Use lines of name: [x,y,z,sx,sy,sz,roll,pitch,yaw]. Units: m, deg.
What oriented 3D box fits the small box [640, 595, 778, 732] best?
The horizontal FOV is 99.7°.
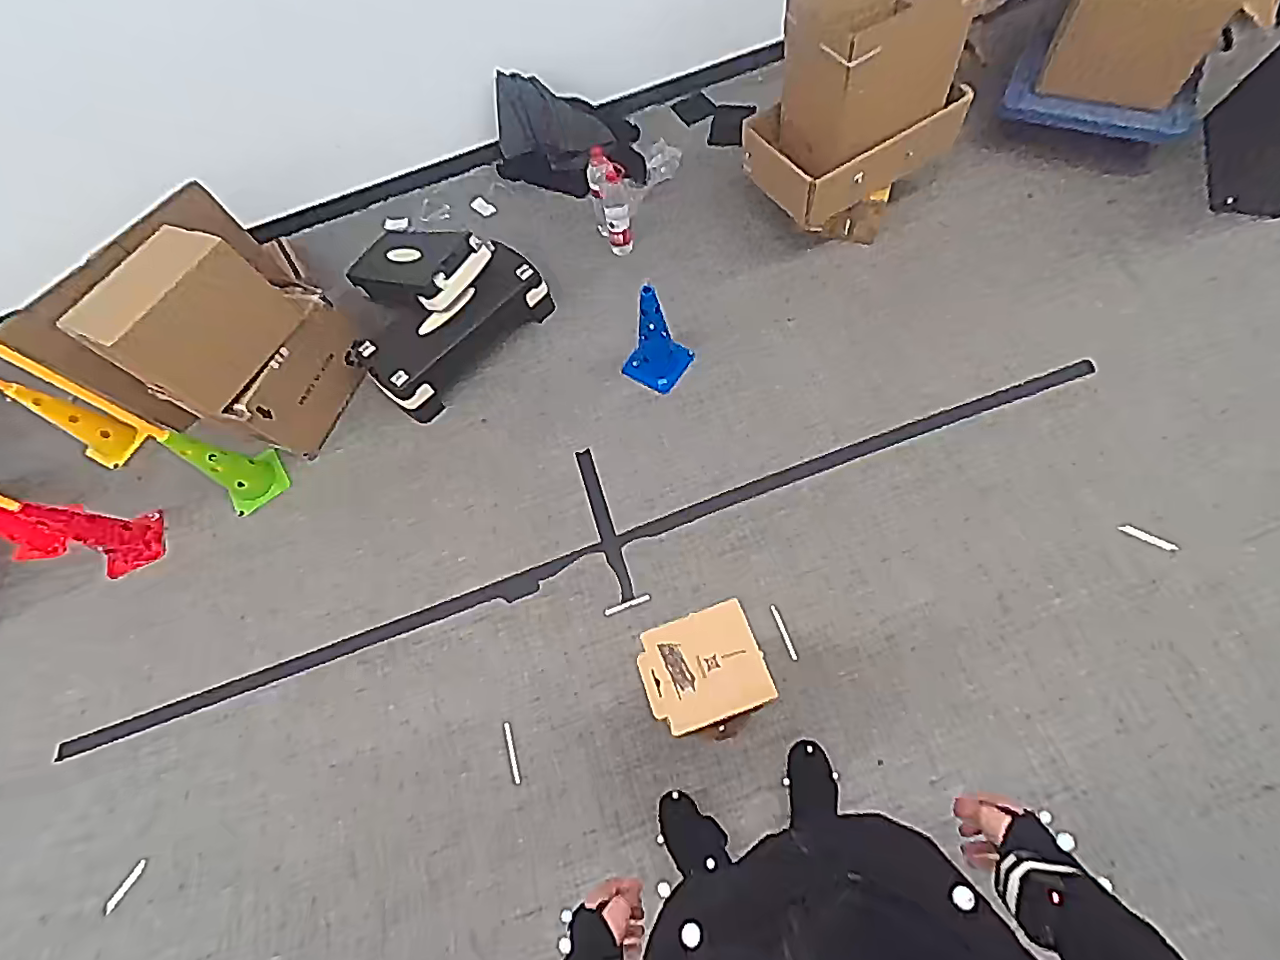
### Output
small box: [0.115,0.319,0.925,0.179,0.176,0.168,-20,65,-2]
